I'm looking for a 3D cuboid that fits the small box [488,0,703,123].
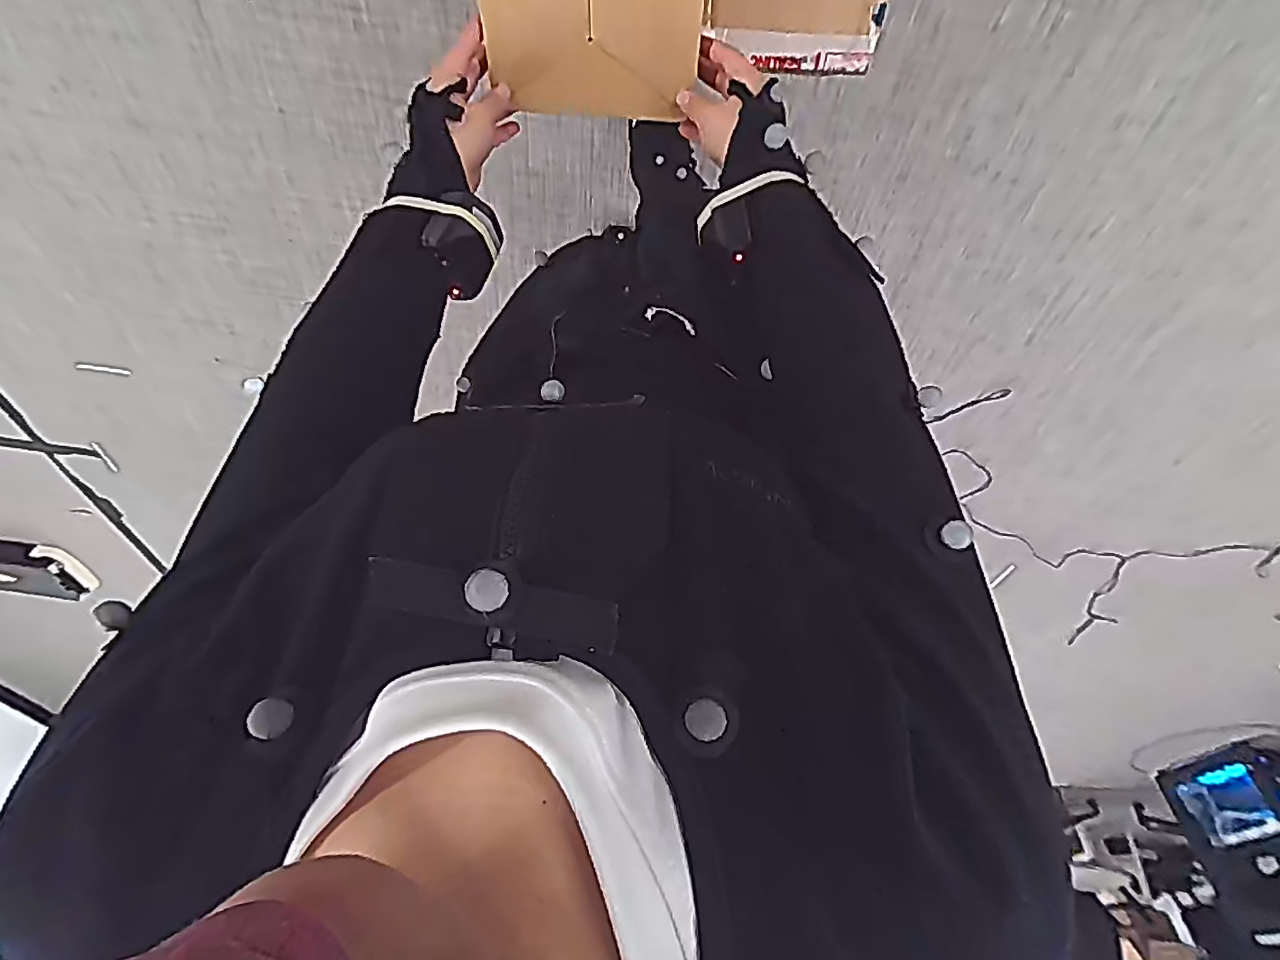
[{"bbox_3d":[-0.034,-0.431,0.470,0.179,0.176,0.168,5,138,1],"label":"small box"}]
